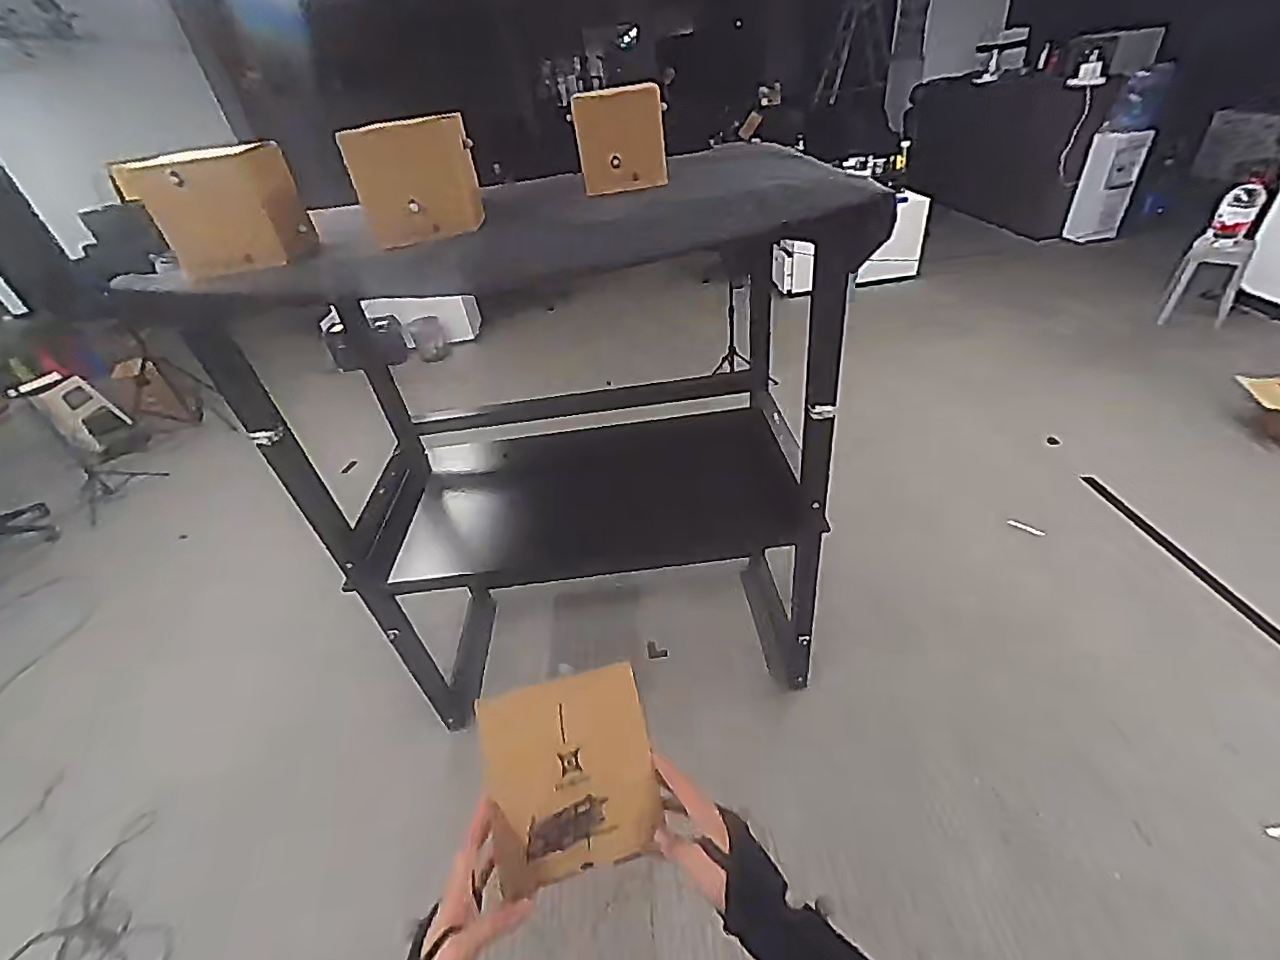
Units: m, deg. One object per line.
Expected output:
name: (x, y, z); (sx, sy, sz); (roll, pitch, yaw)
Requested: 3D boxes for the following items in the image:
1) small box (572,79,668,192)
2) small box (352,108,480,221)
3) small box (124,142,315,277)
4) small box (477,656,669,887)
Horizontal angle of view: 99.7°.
small box: (-0.037, -0.694, 1.091); (0.168, 0.176, 0.179); (-7, 38, 2)
small box: (-0.440, -0.637, 1.098); (0.168, 0.176, 0.179); (-5, 39, 3)
small box: (-0.685, -0.457, 0.912); (0.168, 0.176, 0.179); (-12, 38, -4)
small box: (-0.073, 0.304, 0.608); (0.168, 0.176, 0.179); (-12, 73, -9)
